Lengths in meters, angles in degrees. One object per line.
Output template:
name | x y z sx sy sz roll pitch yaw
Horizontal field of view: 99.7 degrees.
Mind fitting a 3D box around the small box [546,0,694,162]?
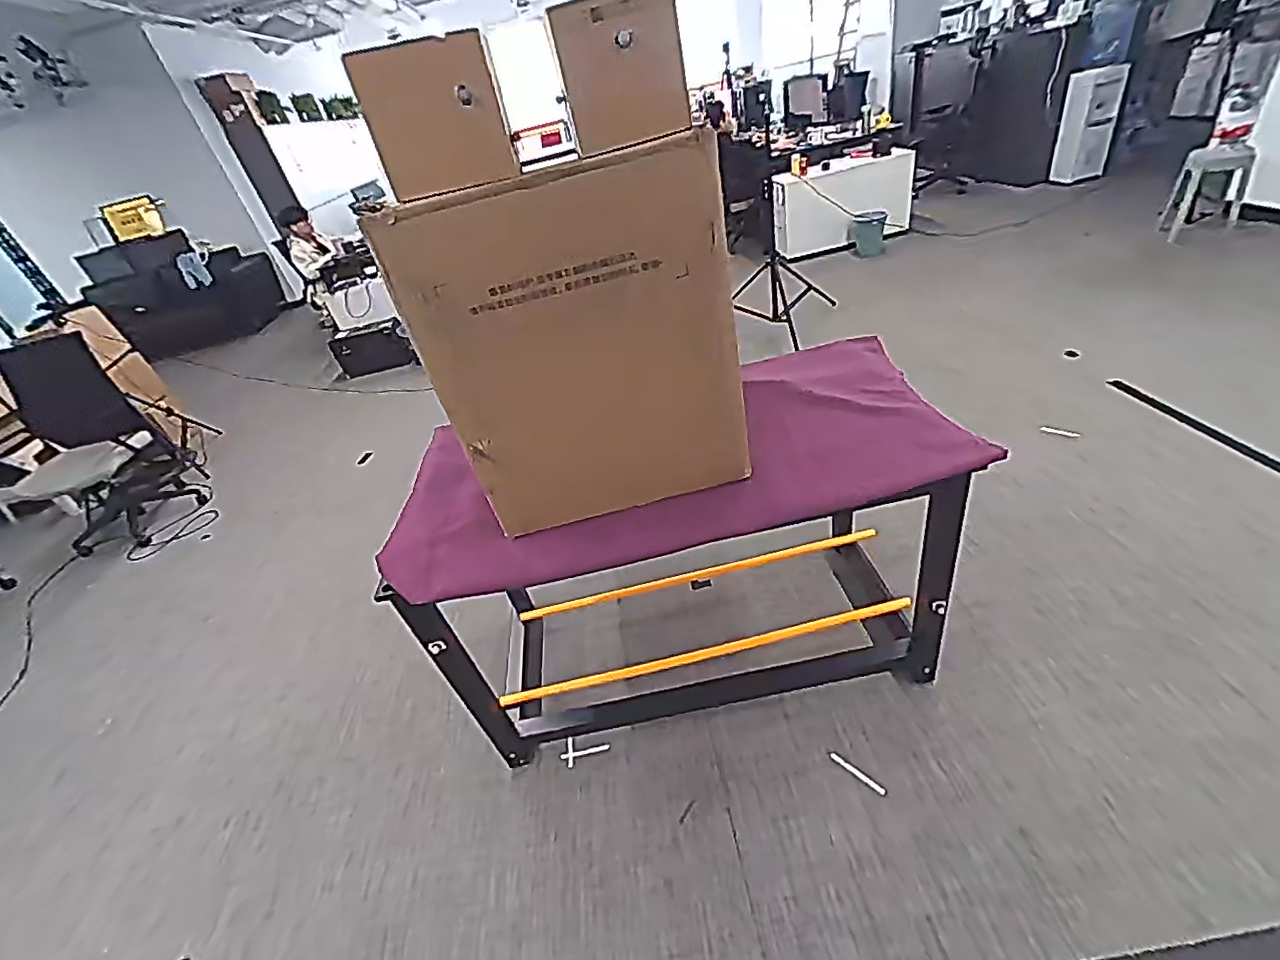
small box | -0.031 -0.580 0.779 0.168 0.176 0.179 -16 35 0
